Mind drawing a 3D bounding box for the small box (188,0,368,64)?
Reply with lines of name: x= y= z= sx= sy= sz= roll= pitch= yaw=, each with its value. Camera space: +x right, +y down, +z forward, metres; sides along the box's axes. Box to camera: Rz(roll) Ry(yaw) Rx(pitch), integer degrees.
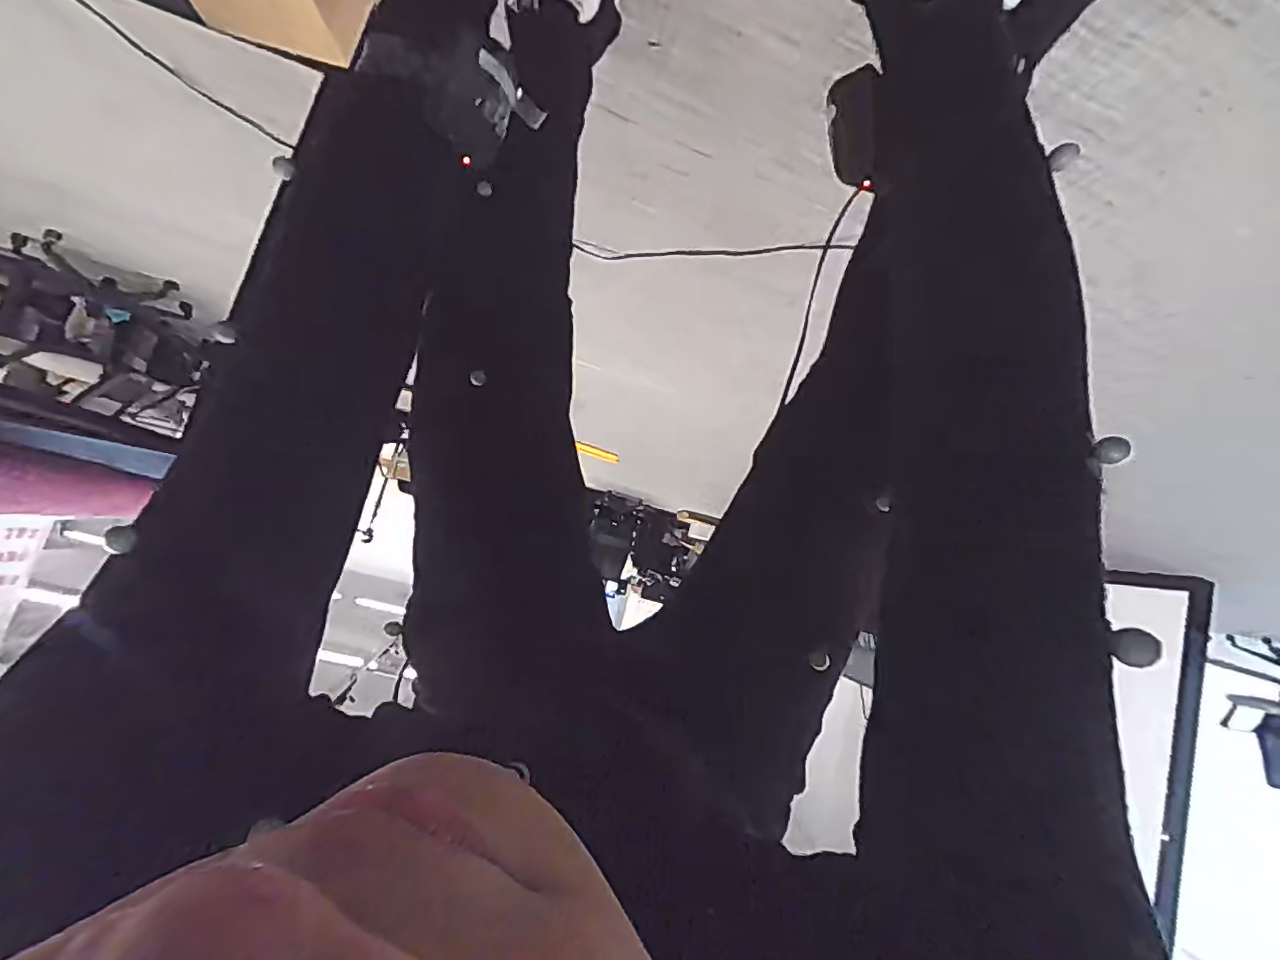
small box: x=-0.401 y=-0.602 z=0.569 sx=0.179 sy=0.176 sz=0.168 roll=16 pitch=172 yaw=-3
